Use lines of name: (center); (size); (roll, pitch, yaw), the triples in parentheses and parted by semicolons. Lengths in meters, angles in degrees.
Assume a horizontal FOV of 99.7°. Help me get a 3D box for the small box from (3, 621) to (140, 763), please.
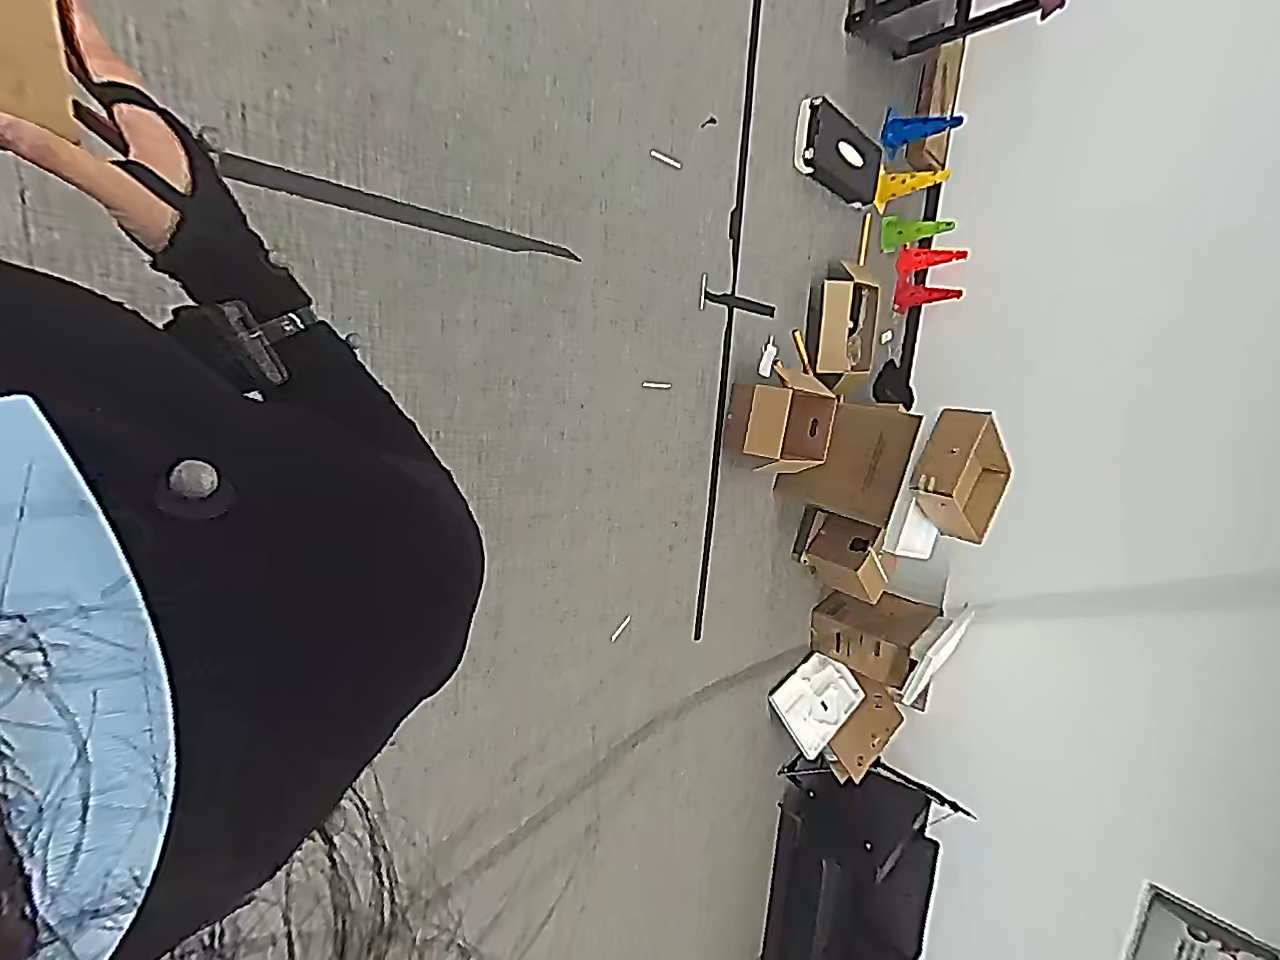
small box: (-1.111, 0.407, 1.069); (0.168, 0.176, 0.179); (-8, 106, -43)
